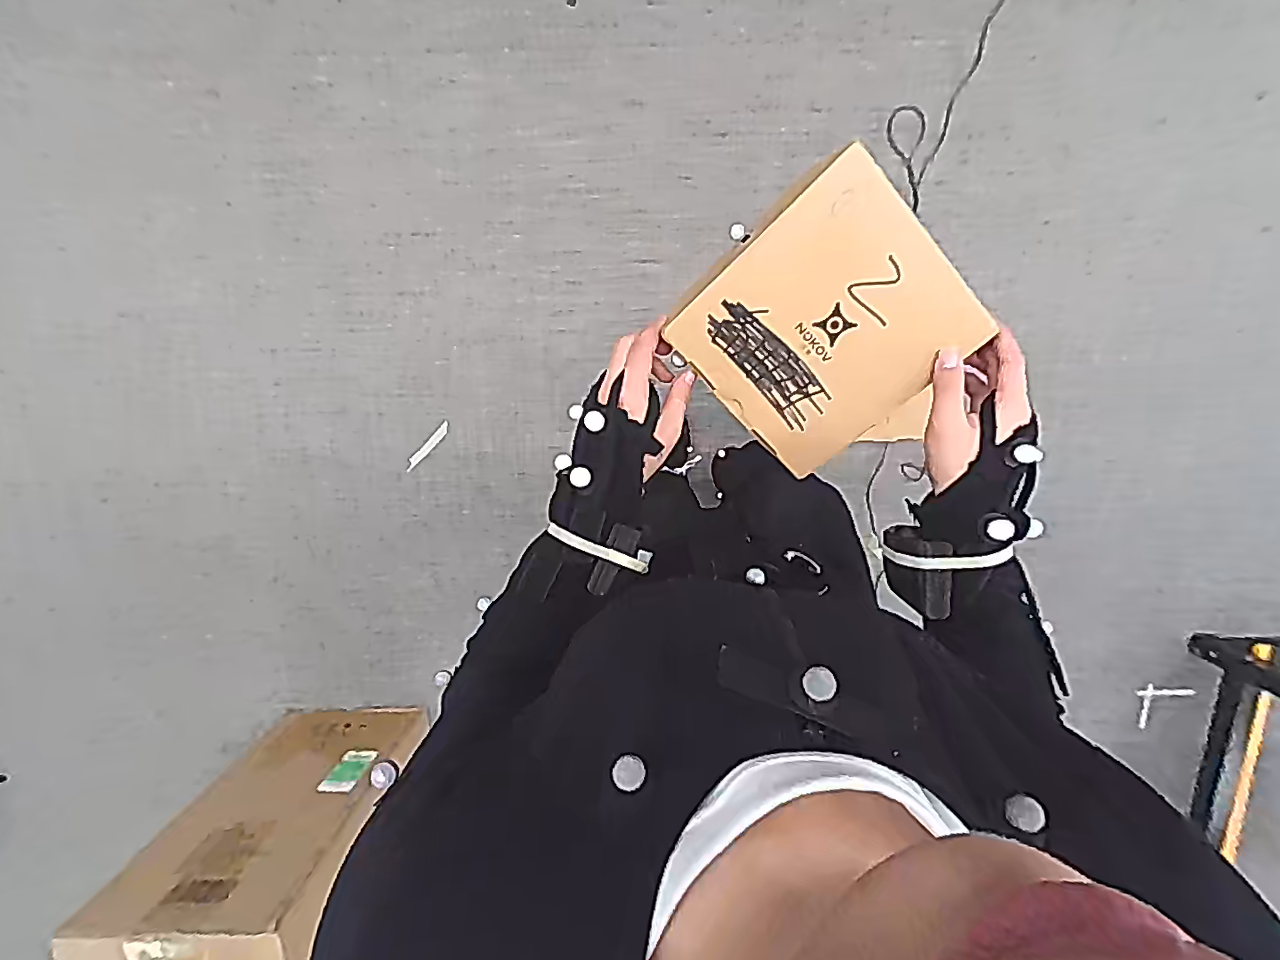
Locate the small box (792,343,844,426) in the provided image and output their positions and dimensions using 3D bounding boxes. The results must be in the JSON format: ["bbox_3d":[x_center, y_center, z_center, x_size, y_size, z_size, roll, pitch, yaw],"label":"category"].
[{"bbox_3d":[0.450,-0.218,1.227,0.168,0.176,0.179,0,103,1],"label":"small box"}]

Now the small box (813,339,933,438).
[{"bbox_3d":[0.448,-0.182,1.066,0.168,0.176,0.179,-2,103,2],"label":"small box"}]
